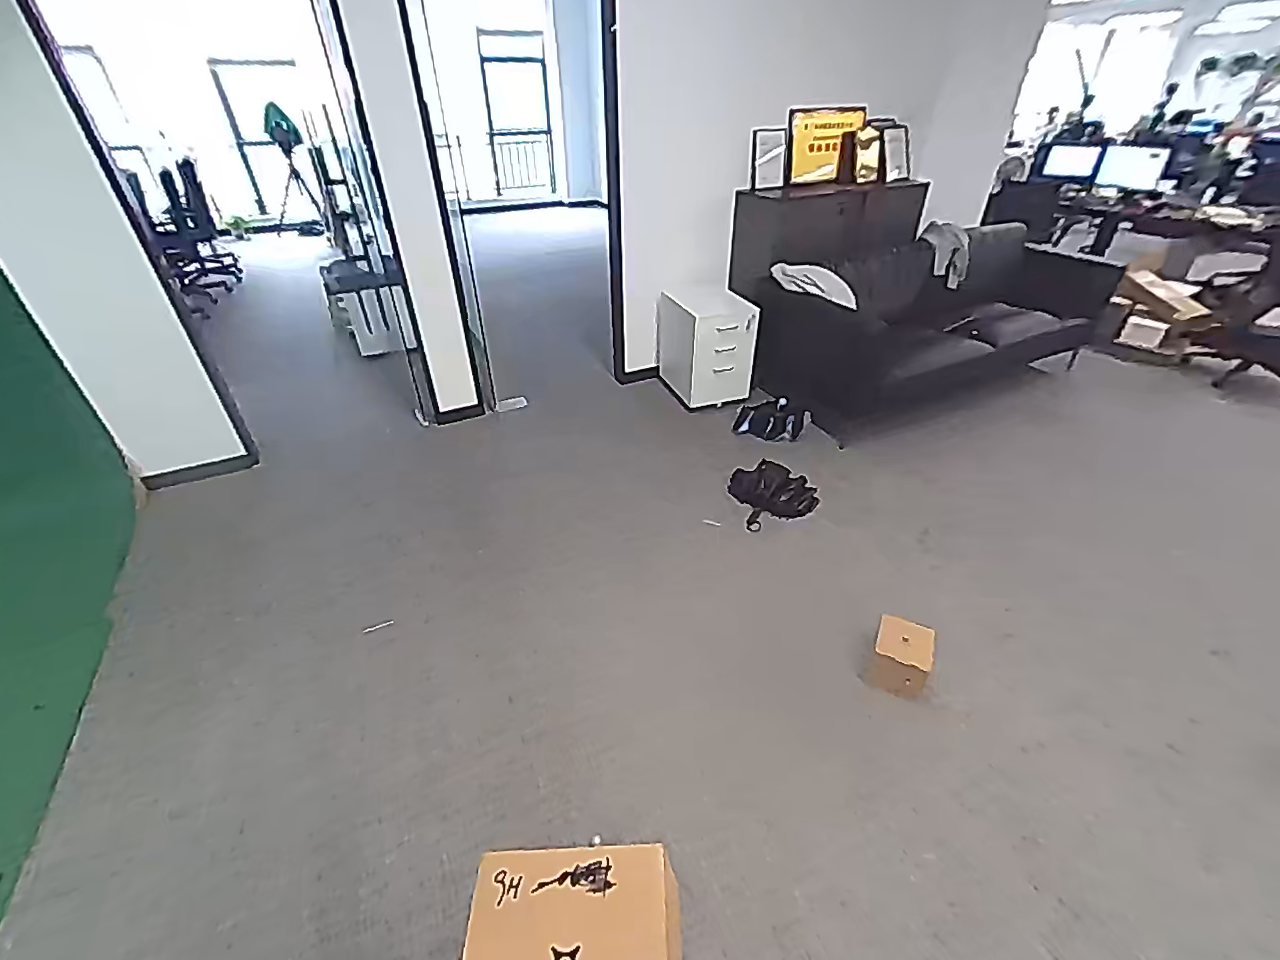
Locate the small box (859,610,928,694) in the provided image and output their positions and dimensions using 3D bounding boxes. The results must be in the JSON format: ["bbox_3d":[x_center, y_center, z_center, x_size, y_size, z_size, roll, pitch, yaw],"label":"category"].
[{"bbox_3d":[0.839,0.573,1.796,0.168,0.176,0.179,17,37,21],"label":"small box"}]
